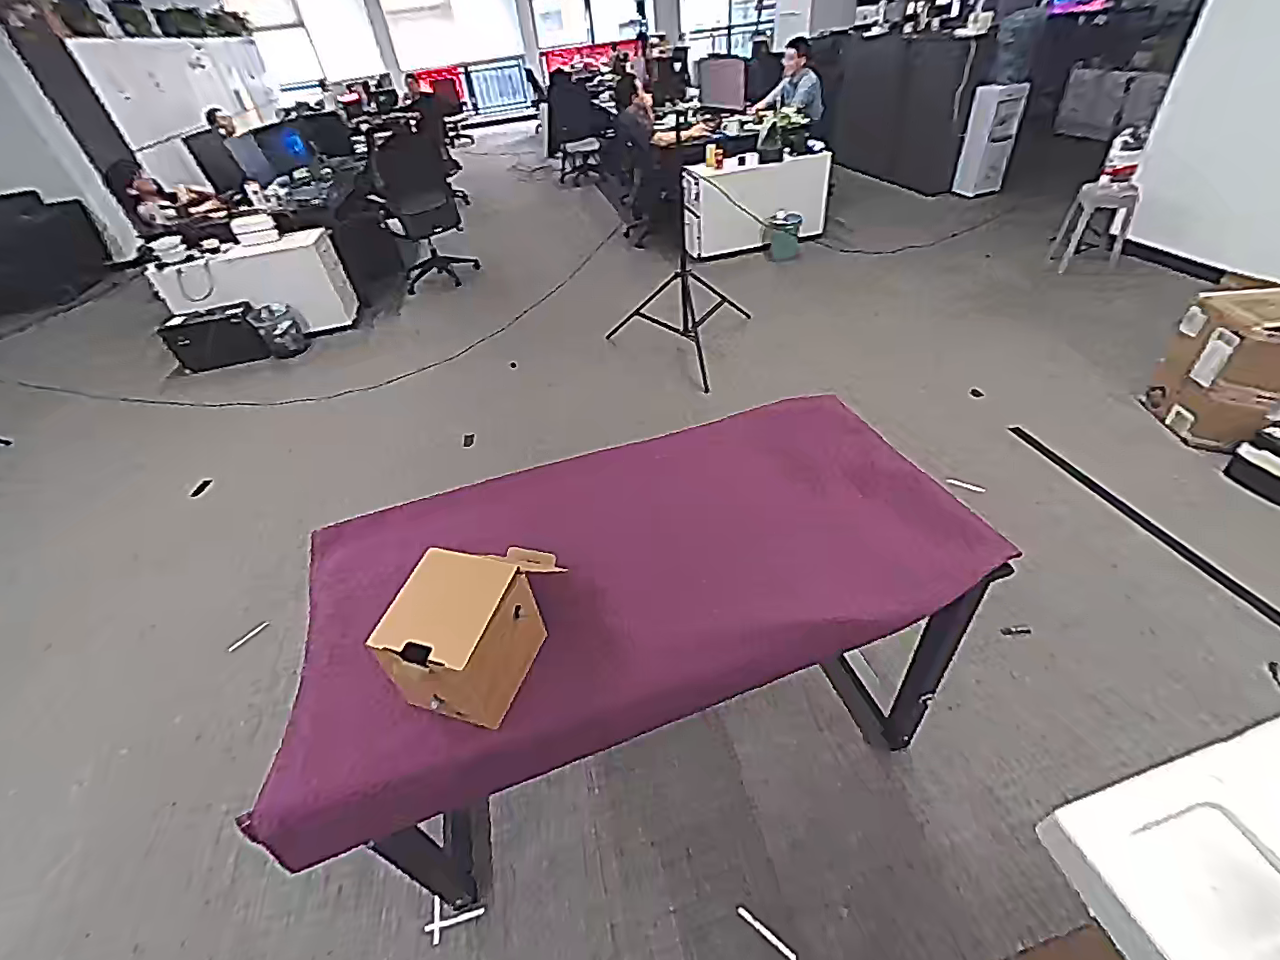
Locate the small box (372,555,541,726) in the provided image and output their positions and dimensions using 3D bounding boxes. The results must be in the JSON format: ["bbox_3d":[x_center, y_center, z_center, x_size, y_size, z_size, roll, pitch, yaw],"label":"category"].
[{"bbox_3d":[-0.270,0.248,0.849,0.168,0.176,0.179,7,42,19],"label":"small box"}]
